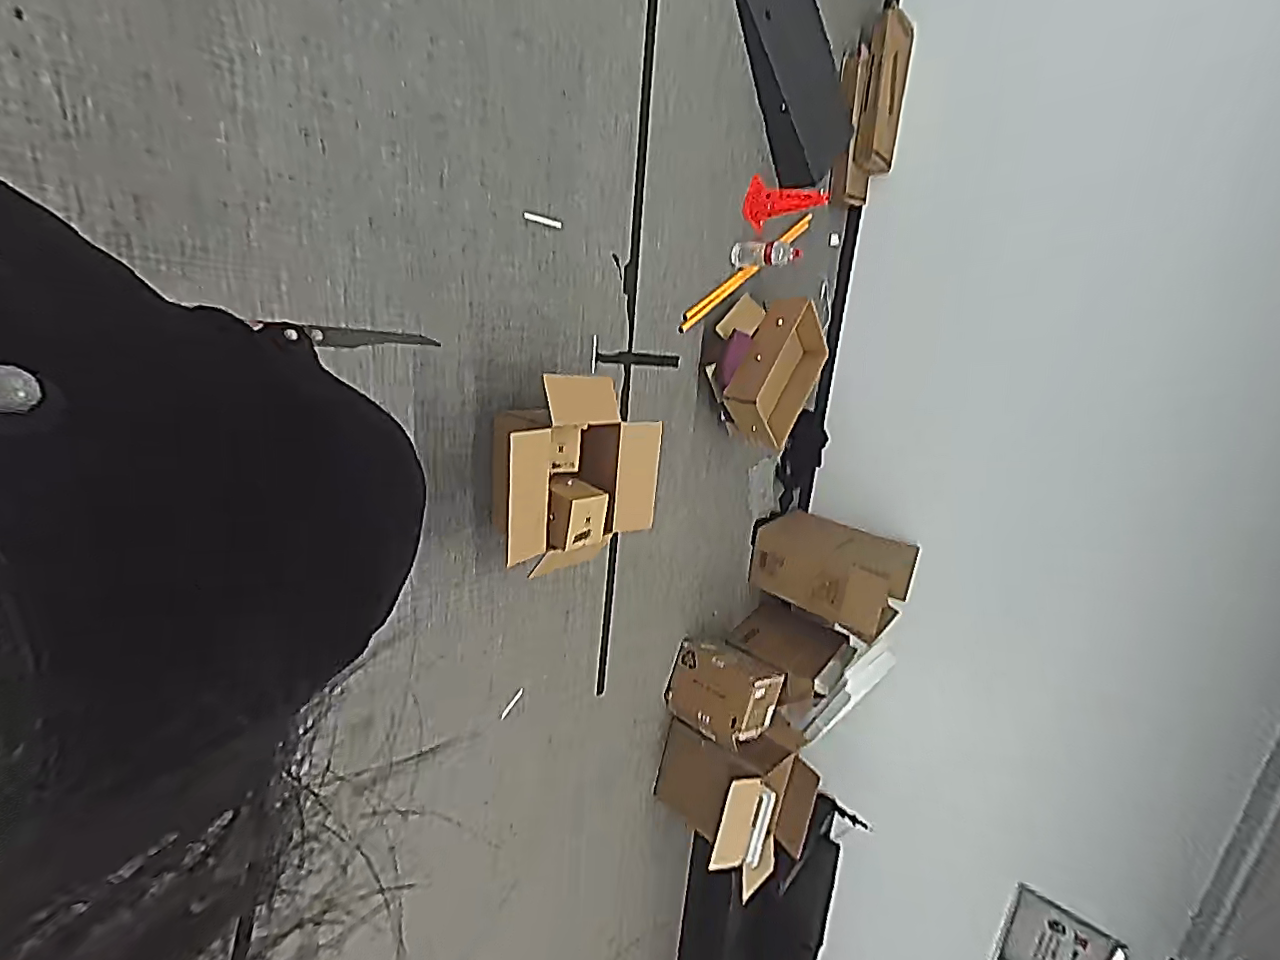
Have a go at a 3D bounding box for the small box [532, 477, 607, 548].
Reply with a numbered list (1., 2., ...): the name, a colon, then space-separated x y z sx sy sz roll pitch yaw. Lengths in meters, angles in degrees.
1. small box: -0.236 0.102 1.783 0.168 0.176 0.179 -9 114 -49
